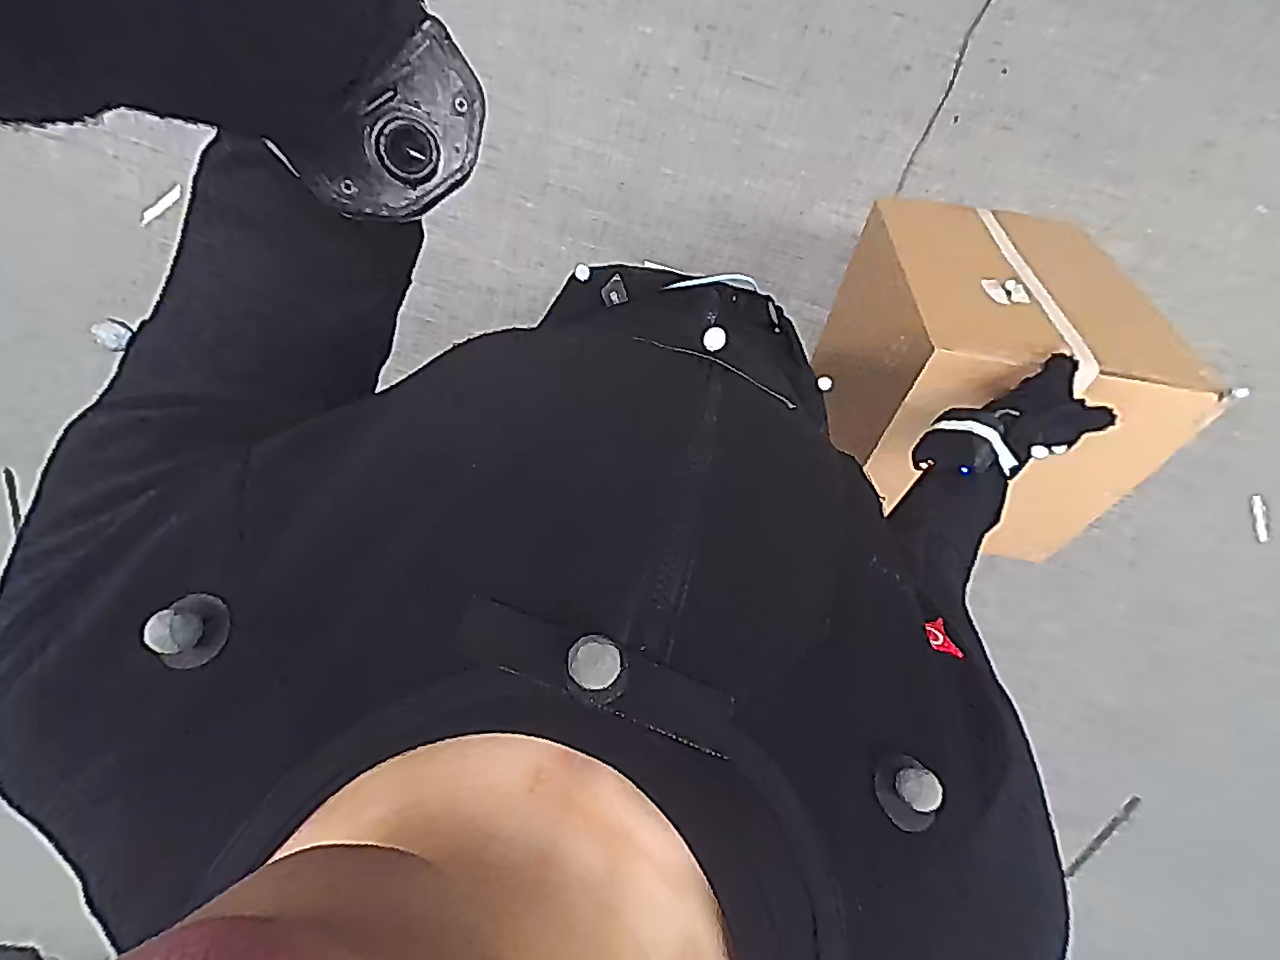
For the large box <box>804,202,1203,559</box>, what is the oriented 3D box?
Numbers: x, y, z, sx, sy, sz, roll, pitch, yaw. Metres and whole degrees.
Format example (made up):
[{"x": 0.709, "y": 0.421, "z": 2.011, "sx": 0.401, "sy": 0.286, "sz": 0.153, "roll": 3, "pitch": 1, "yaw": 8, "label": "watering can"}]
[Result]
[{"x": 0.457, "y": -0.151, "z": 0.811, "sx": 0.320, "sy": 0.408, "sz": 0.320, "roll": 11, "pitch": 140, "yaw": 1, "label": "large box"}]
